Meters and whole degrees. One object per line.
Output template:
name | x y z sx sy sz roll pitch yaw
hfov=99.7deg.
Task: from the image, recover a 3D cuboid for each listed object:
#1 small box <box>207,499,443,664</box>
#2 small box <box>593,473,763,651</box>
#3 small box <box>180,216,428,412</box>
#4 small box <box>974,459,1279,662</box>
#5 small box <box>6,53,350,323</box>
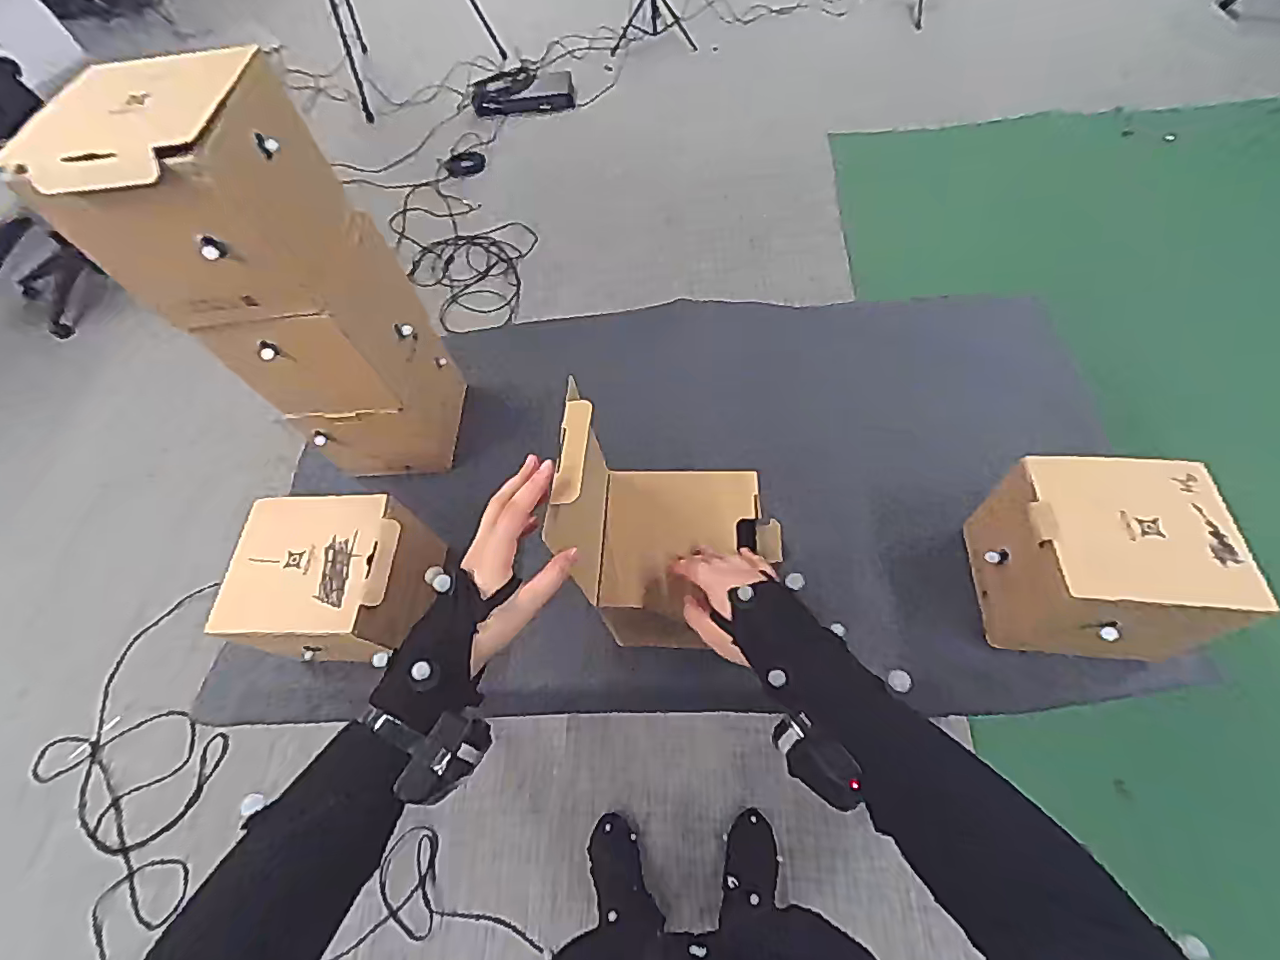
small box | -0.373 0.133 0.683 0.179 0.176 0.168 -2 62 6
small box | 0.051 0.104 0.652 0.179 0.176 0.168 0 60 7
small box | -0.396 -0.197 0.674 0.179 0.176 0.168 -2 63 5
small box | 0.498 0.093 0.597 0.179 0.176 0.168 2 58 9
small box | -0.419 -0.273 0.532 0.168 0.176 0.179 -5 61 2
